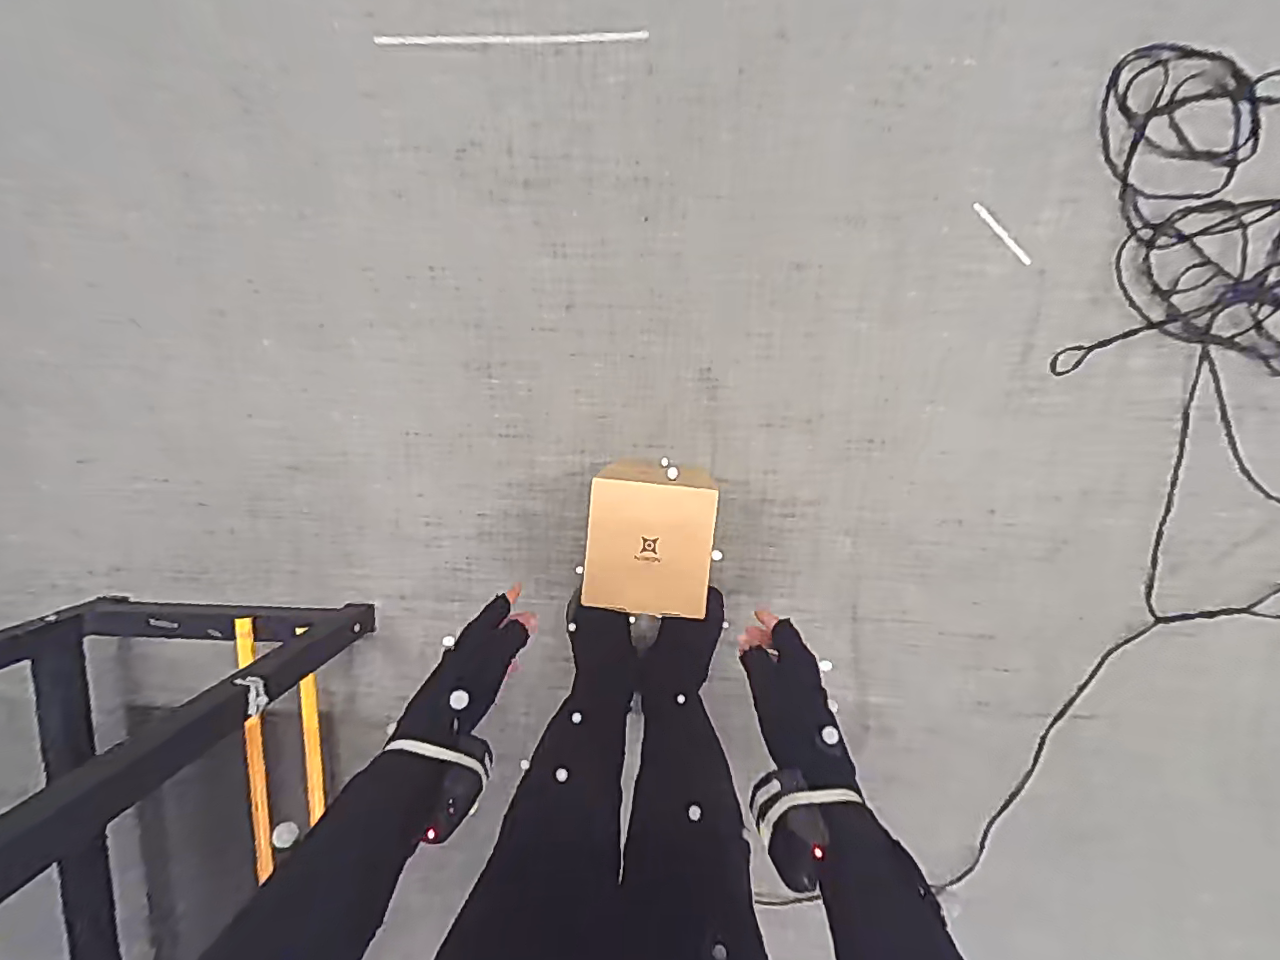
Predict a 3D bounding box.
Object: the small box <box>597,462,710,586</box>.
[{"bbox_3d":[0.024,0.067,0.949,0.168,0.176,0.179,7,98,3],"label":"small box"}]
